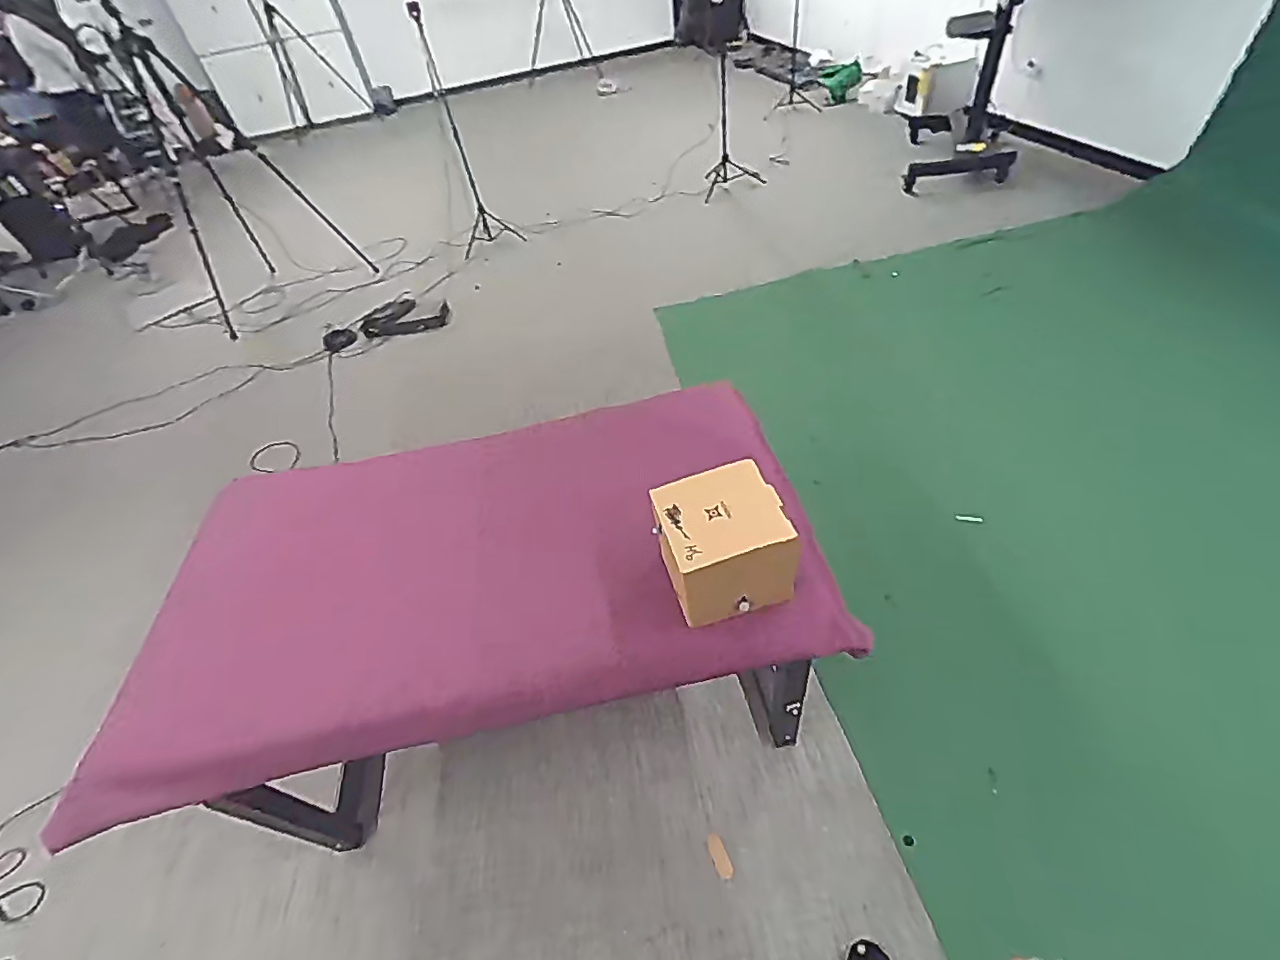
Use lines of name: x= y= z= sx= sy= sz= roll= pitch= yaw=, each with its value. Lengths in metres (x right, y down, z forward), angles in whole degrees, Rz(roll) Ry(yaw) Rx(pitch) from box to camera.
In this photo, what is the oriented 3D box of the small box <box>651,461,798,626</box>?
small box: x=0.129 y=0.103 z=0.853 sx=0.179 sy=0.176 sz=0.168 roll=-17 pitch=46 yaw=-4
